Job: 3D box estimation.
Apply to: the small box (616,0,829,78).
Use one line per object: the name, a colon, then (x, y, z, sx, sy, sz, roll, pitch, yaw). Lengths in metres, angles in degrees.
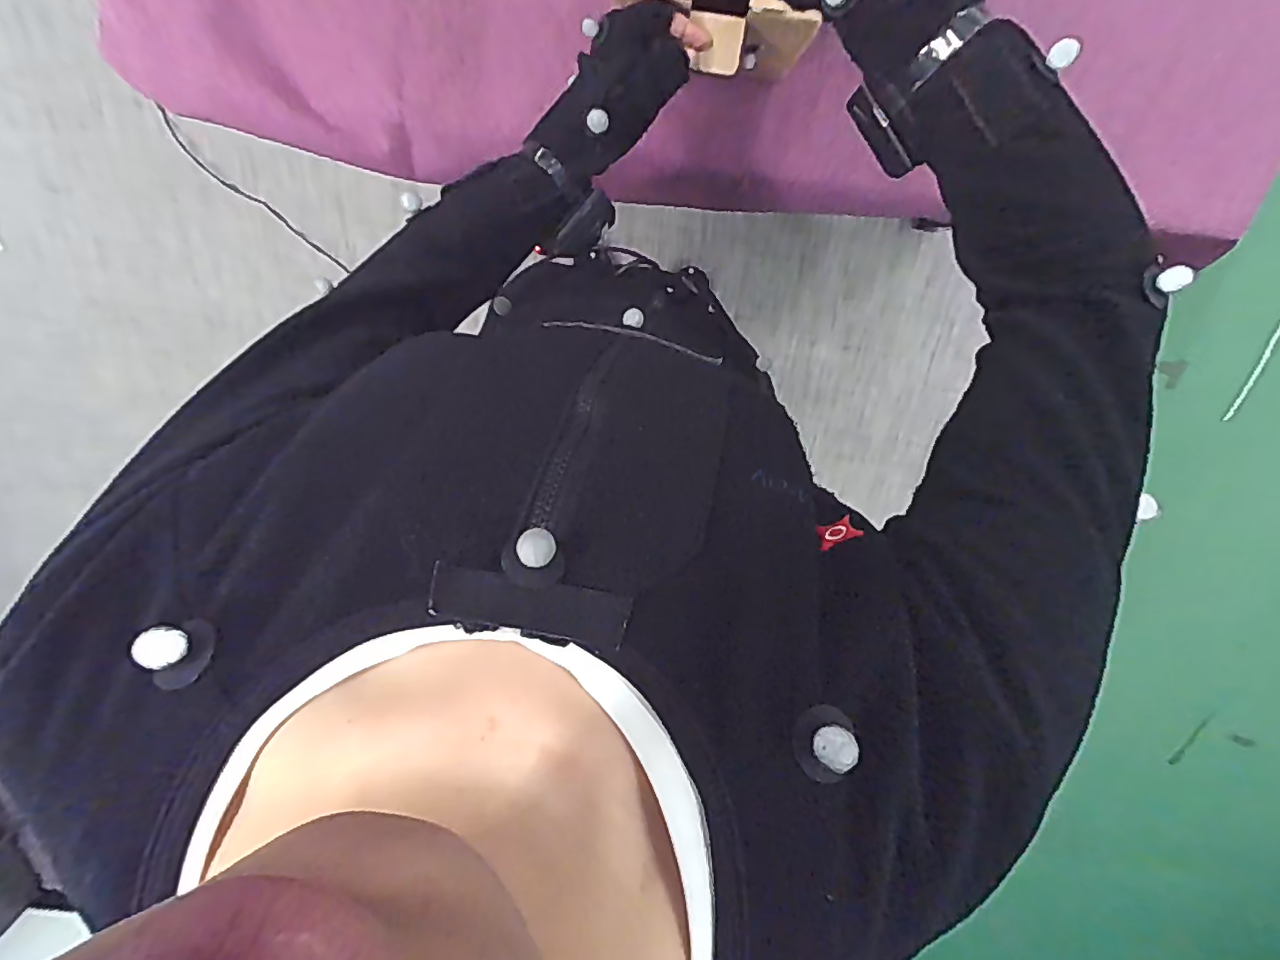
small box: (0.077, -0.468, 0.451, 0.168, 0.176, 0.179, 8, 113, -1)
